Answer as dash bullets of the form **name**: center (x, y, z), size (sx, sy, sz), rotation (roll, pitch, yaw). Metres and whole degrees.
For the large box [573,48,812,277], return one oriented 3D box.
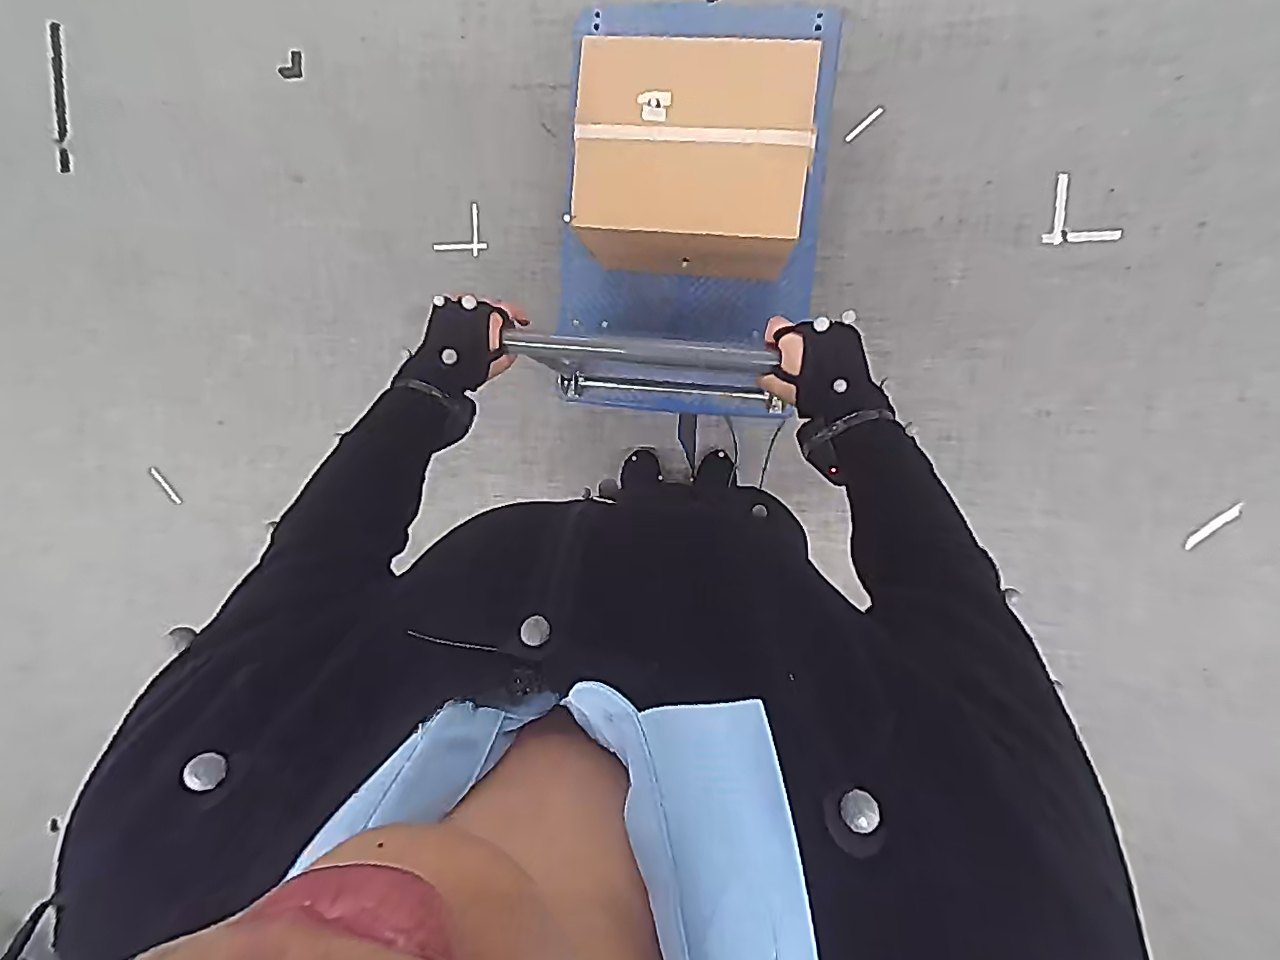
- **large box**: center (0.105, -0.610, 1.097), size (0.408, 0.320, 0.320), rotation (6, 97, 7)
